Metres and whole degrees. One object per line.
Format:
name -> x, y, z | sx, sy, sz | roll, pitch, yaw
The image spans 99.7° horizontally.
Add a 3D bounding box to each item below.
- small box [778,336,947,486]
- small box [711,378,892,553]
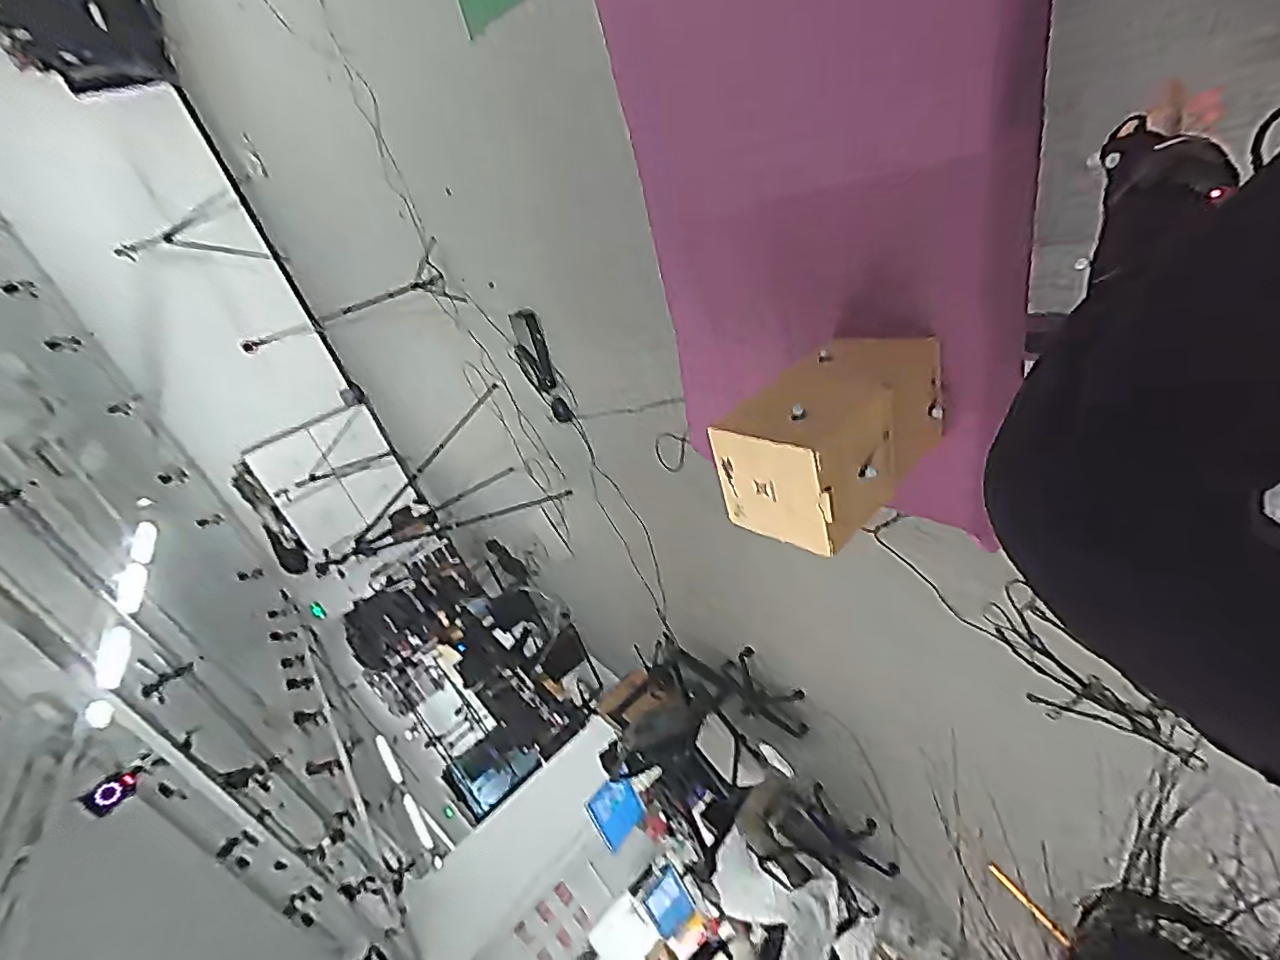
small box -> 0.344, -0.115, 0.835 | 0.179, 0.176, 0.168 | 16, 134, 49
small box -> 0.232, -0.031, 0.750 | 0.179, 0.176, 0.168 | 18, 135, 48
